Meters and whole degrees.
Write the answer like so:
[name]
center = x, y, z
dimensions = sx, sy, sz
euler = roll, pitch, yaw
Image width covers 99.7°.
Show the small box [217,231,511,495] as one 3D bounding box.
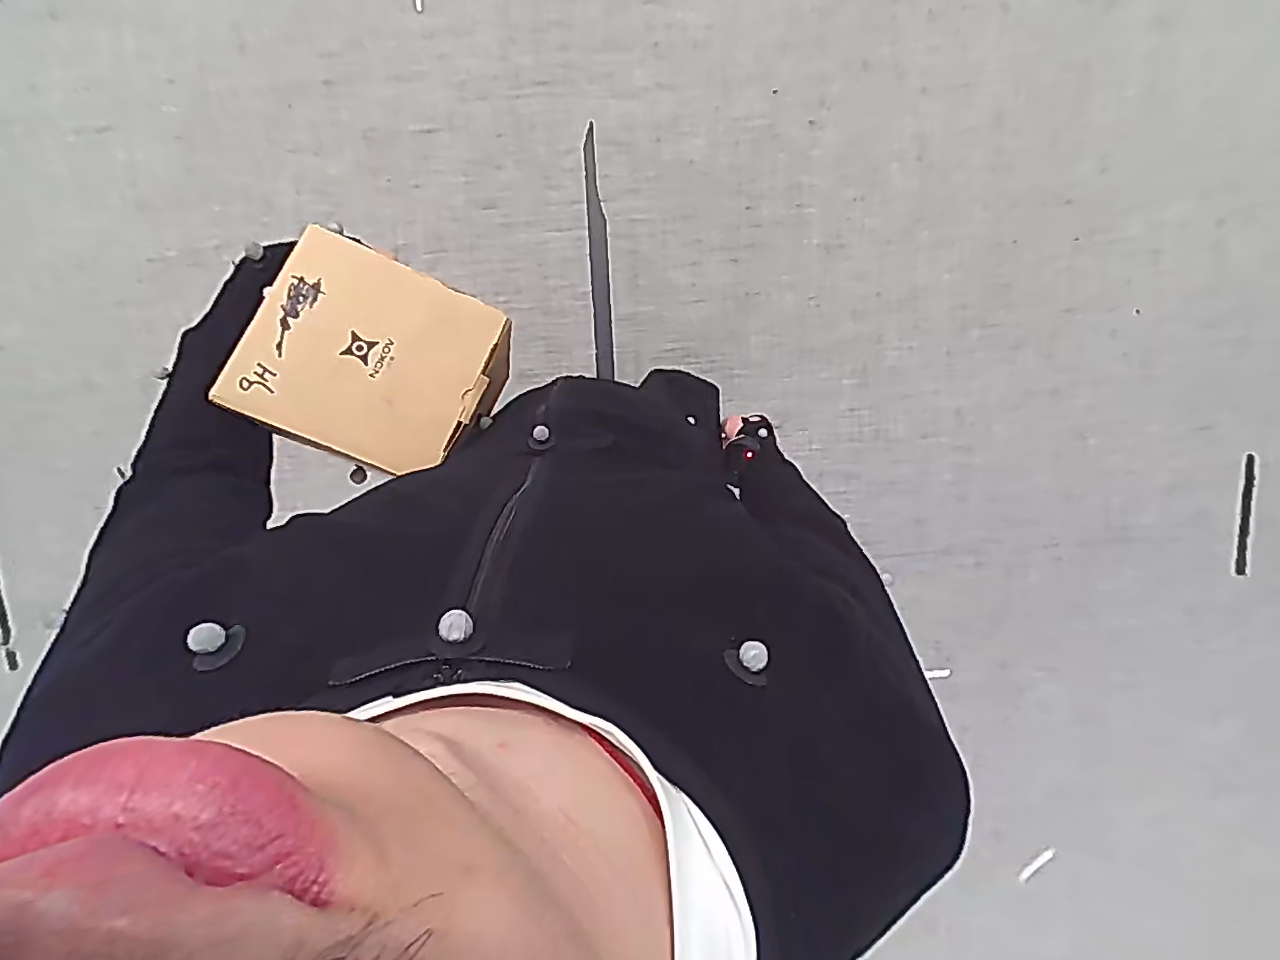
[small box]
center = -0.241, -0.092, 0.525
dimensions = 0.179, 0.176, 0.168
euler = 24, 77, -11
